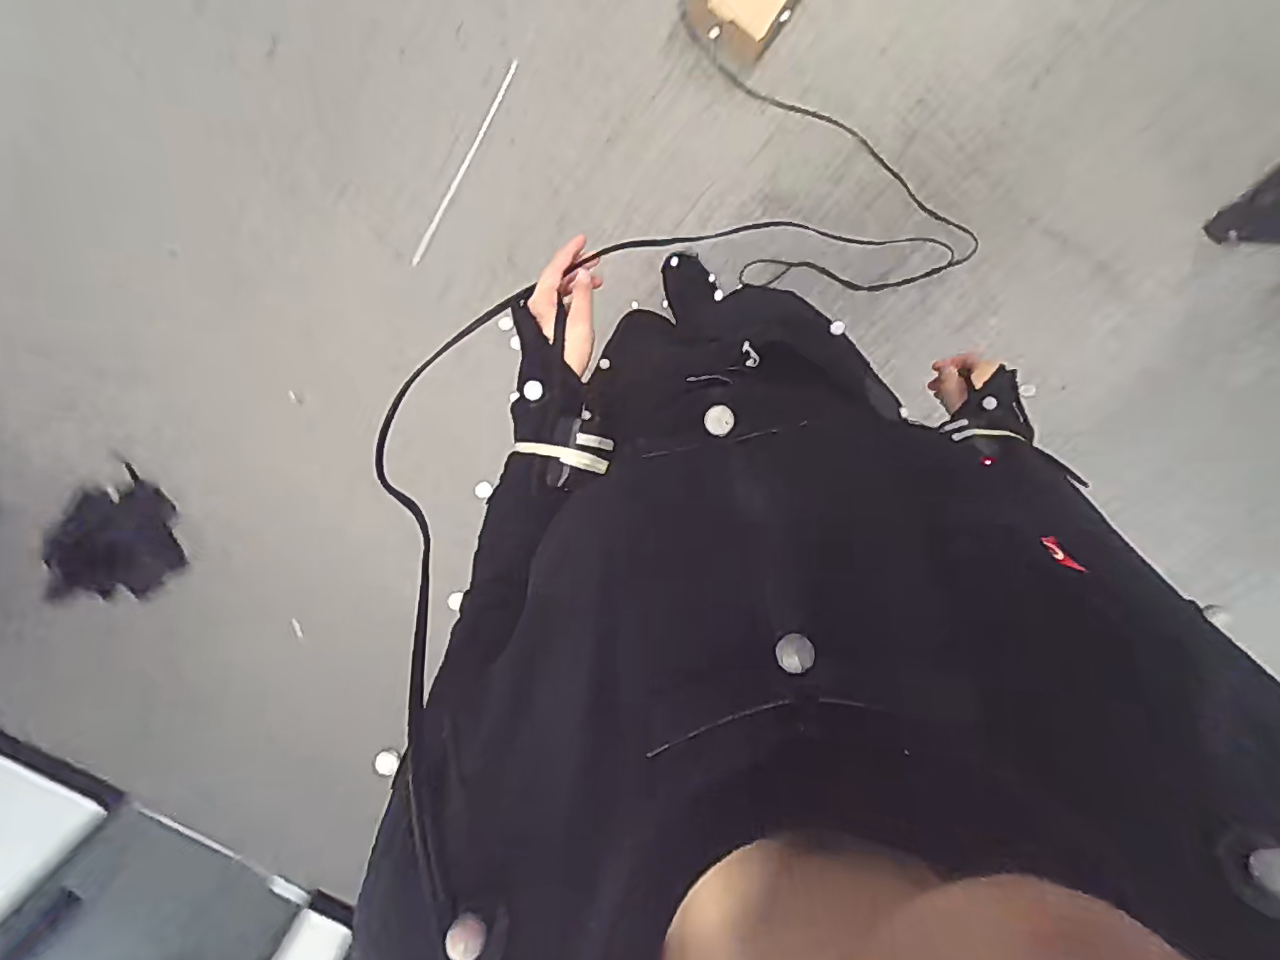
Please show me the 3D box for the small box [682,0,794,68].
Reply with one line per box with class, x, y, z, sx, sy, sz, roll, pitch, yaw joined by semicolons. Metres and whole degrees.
small box;0.183;-0.865;0.934;0.168;0.176;0.179;34;113;-9
